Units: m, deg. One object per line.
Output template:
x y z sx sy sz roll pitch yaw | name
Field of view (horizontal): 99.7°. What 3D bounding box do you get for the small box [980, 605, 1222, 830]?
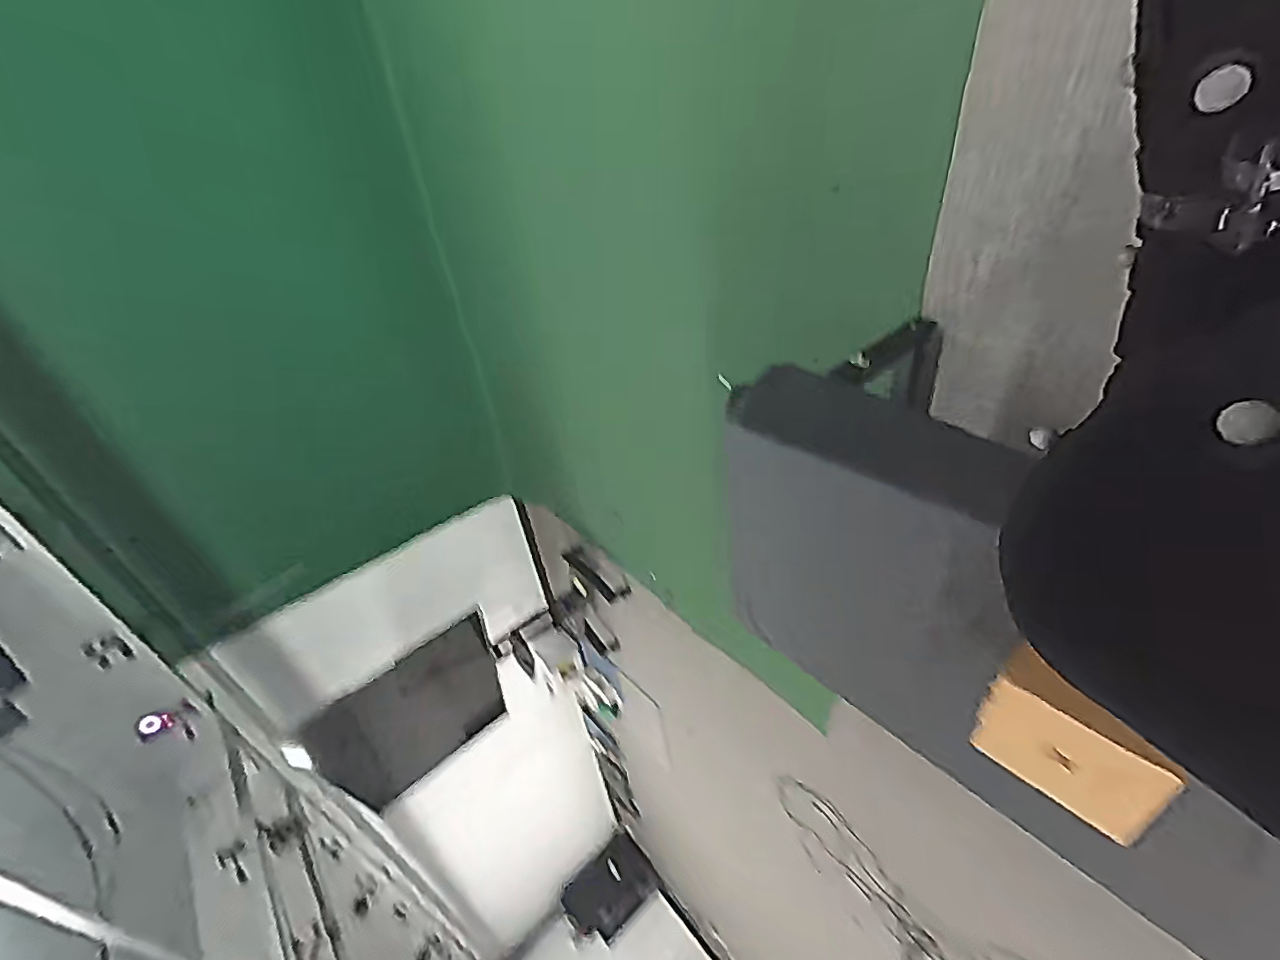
0.584 0.290 0.699 0.179 0.176 0.168 28 141 42 | small box
